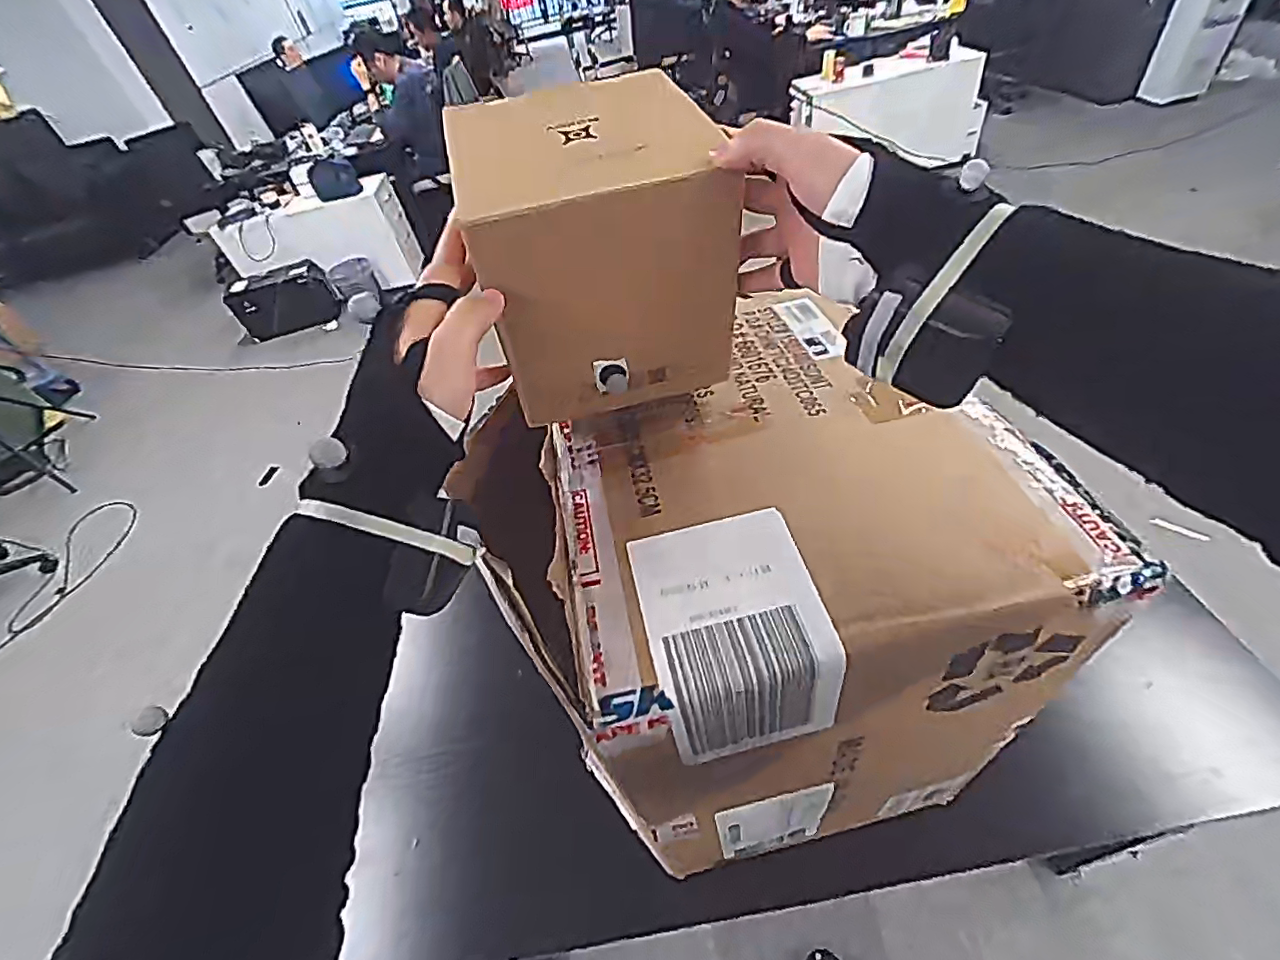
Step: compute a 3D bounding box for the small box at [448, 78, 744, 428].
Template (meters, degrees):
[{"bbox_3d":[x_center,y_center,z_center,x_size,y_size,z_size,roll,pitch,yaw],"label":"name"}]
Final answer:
[{"bbox_3d":[-0.034,-0.170,0.414,0.168,0.176,0.179,-16,53,-5],"label":"small box"}]
